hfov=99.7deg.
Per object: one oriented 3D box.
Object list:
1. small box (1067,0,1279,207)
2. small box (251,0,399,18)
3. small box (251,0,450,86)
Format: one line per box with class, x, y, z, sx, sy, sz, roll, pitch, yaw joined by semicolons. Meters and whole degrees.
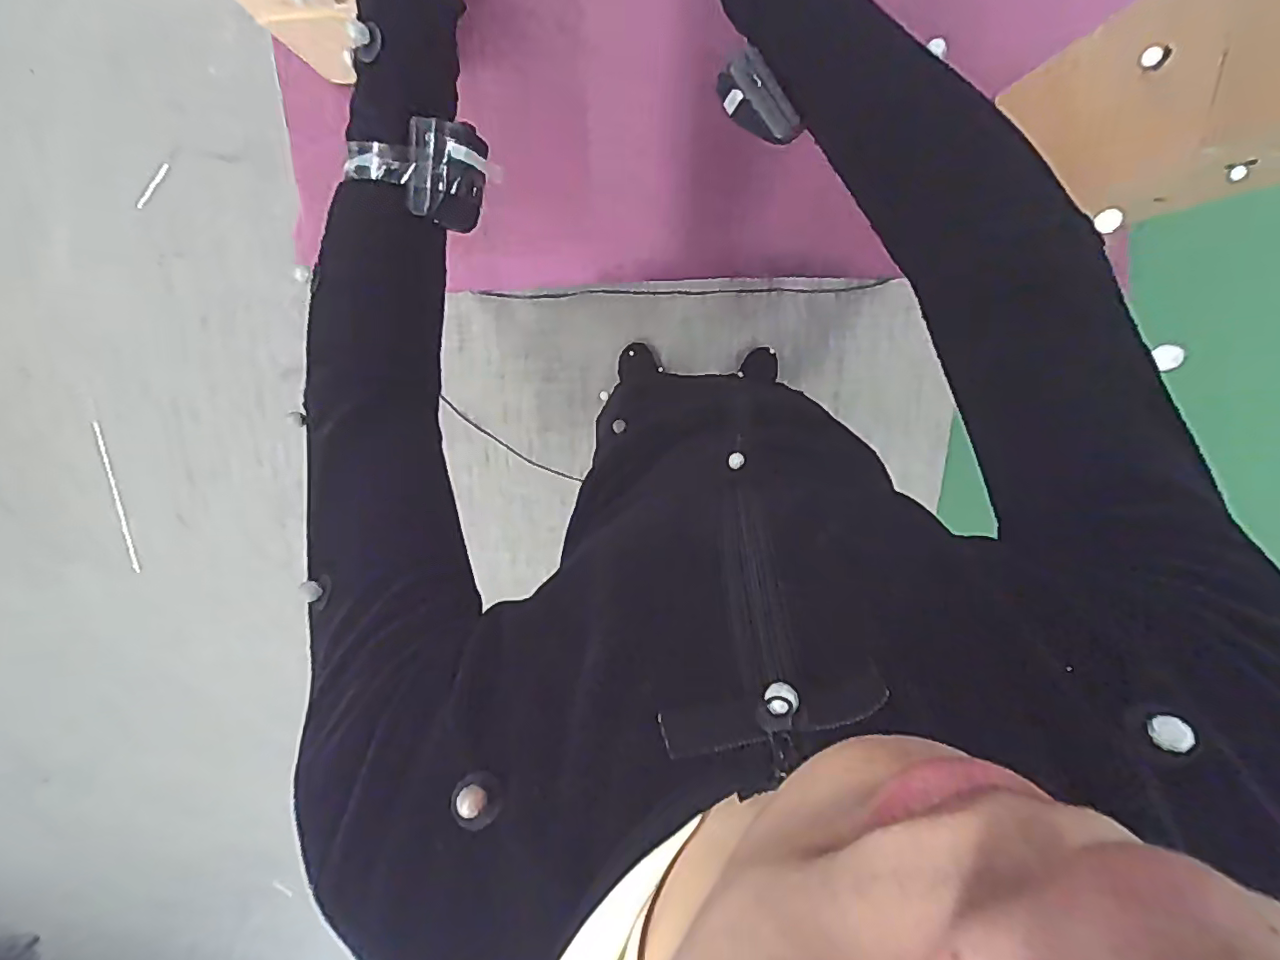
small box;0.576;-0.391;0.537;0.168;0.176;0.179;2;104;0
small box;-0.339;-0.565;0.483;0.168;0.176;0.179;-4;106;1
small box;-0.342;-0.607;0.641;0.168;0.176;0.179;-4;106;1
